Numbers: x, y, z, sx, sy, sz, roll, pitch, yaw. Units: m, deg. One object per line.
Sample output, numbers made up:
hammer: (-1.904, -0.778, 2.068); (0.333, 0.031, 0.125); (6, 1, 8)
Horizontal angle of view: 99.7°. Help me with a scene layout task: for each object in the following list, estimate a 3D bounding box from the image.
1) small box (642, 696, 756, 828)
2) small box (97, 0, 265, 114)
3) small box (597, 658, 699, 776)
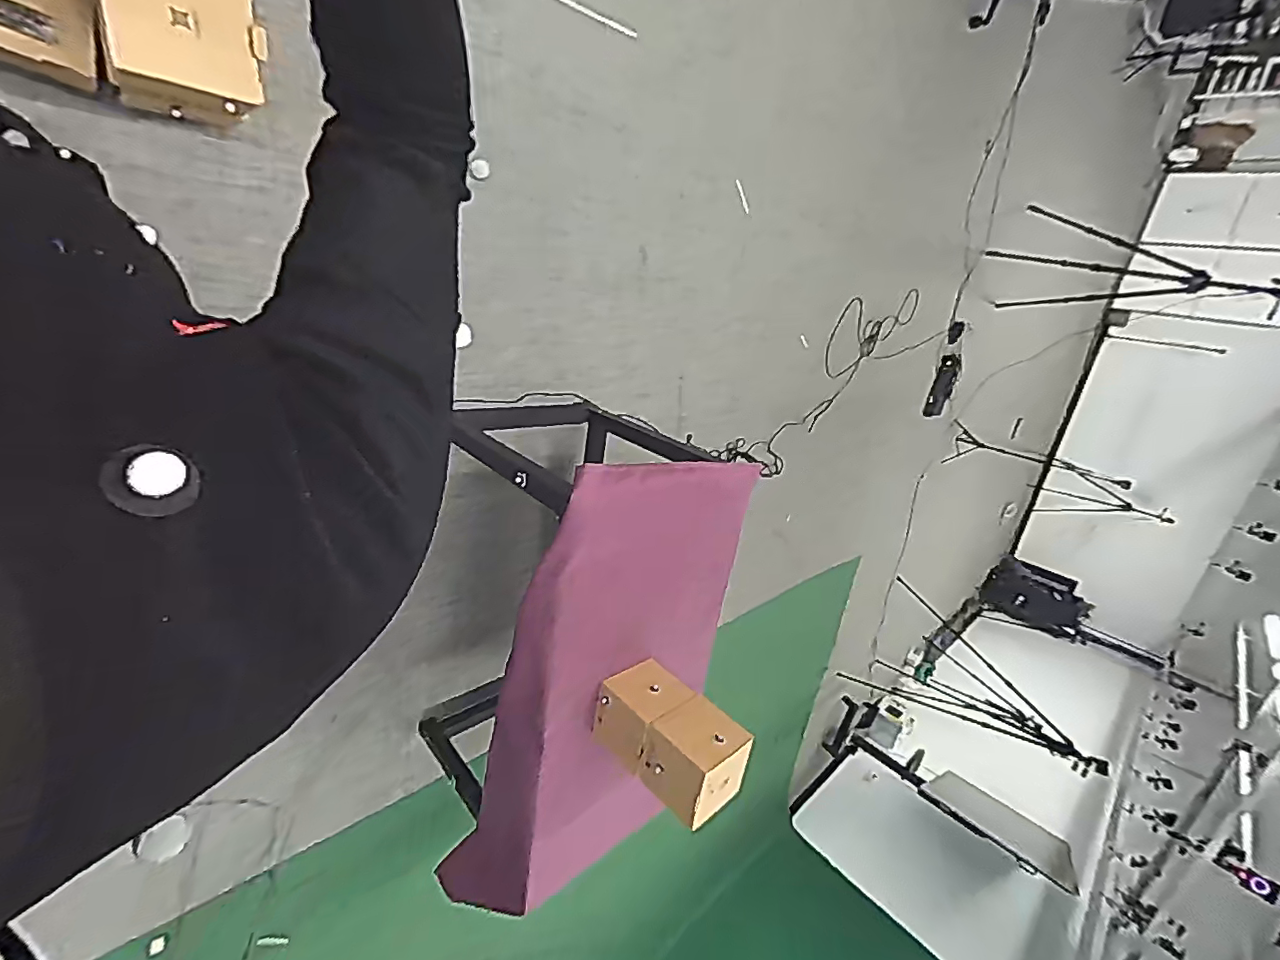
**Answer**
small box: (0.131, 0.629, 1.233); (0.179, 0.176, 0.168); (-9, 115, -43)
small box: (-0.699, -0.678, 0.821); (0.179, 0.176, 0.168); (-13, 119, -42)
small box: (0.014, 0.576, 1.336); (0.179, 0.176, 0.168); (-9, 116, -44)
